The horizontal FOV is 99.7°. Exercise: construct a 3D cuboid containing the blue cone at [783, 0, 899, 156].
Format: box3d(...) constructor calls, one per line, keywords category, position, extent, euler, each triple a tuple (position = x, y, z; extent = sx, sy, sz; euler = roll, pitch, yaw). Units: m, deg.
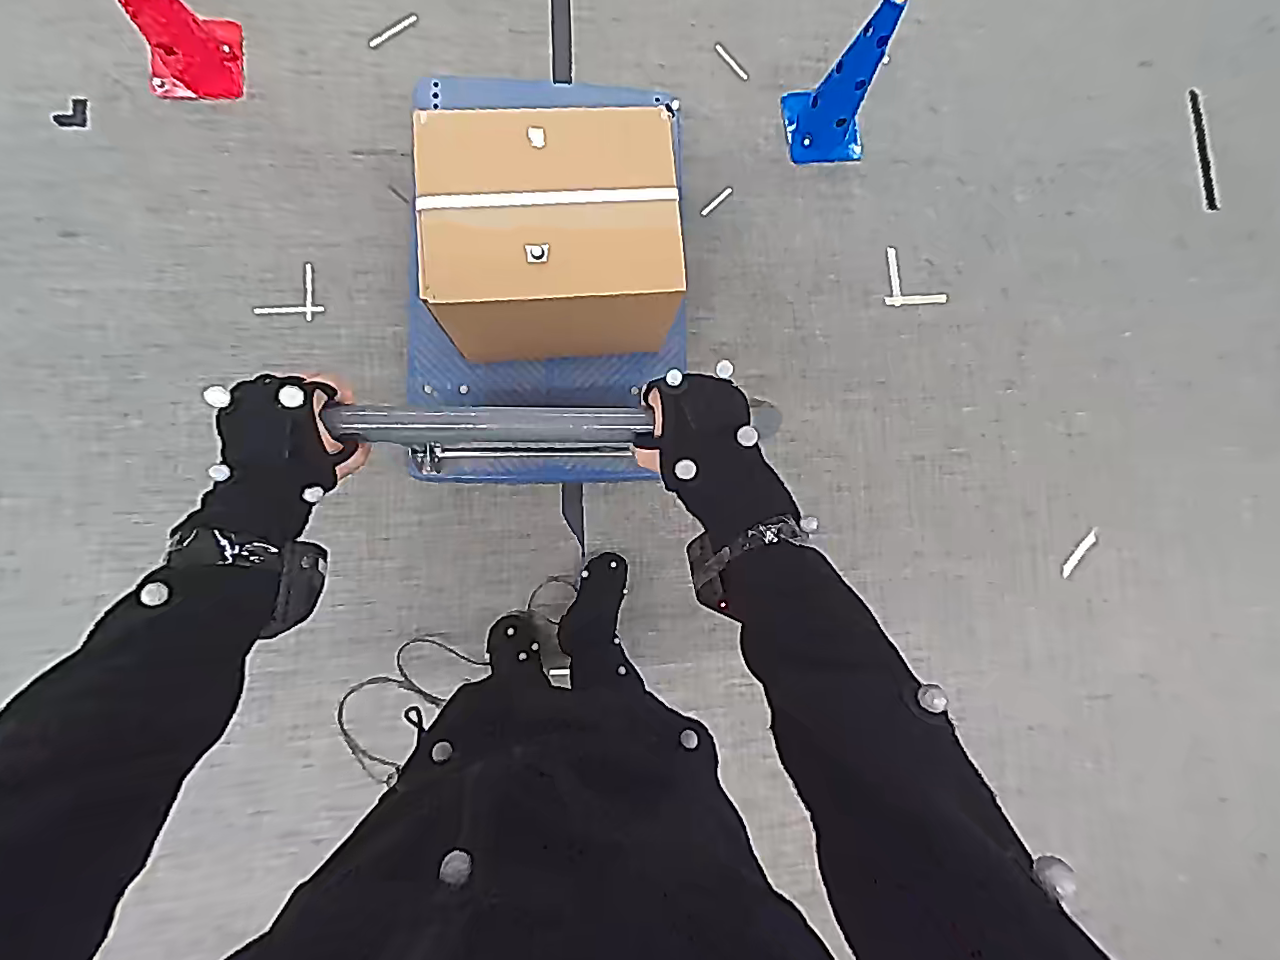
box3d(category="blue cone", position=(0.500, -0.967, 1.273), extent=(0.193, 0.380, 0.192), euler=(-6, 85, -7))
